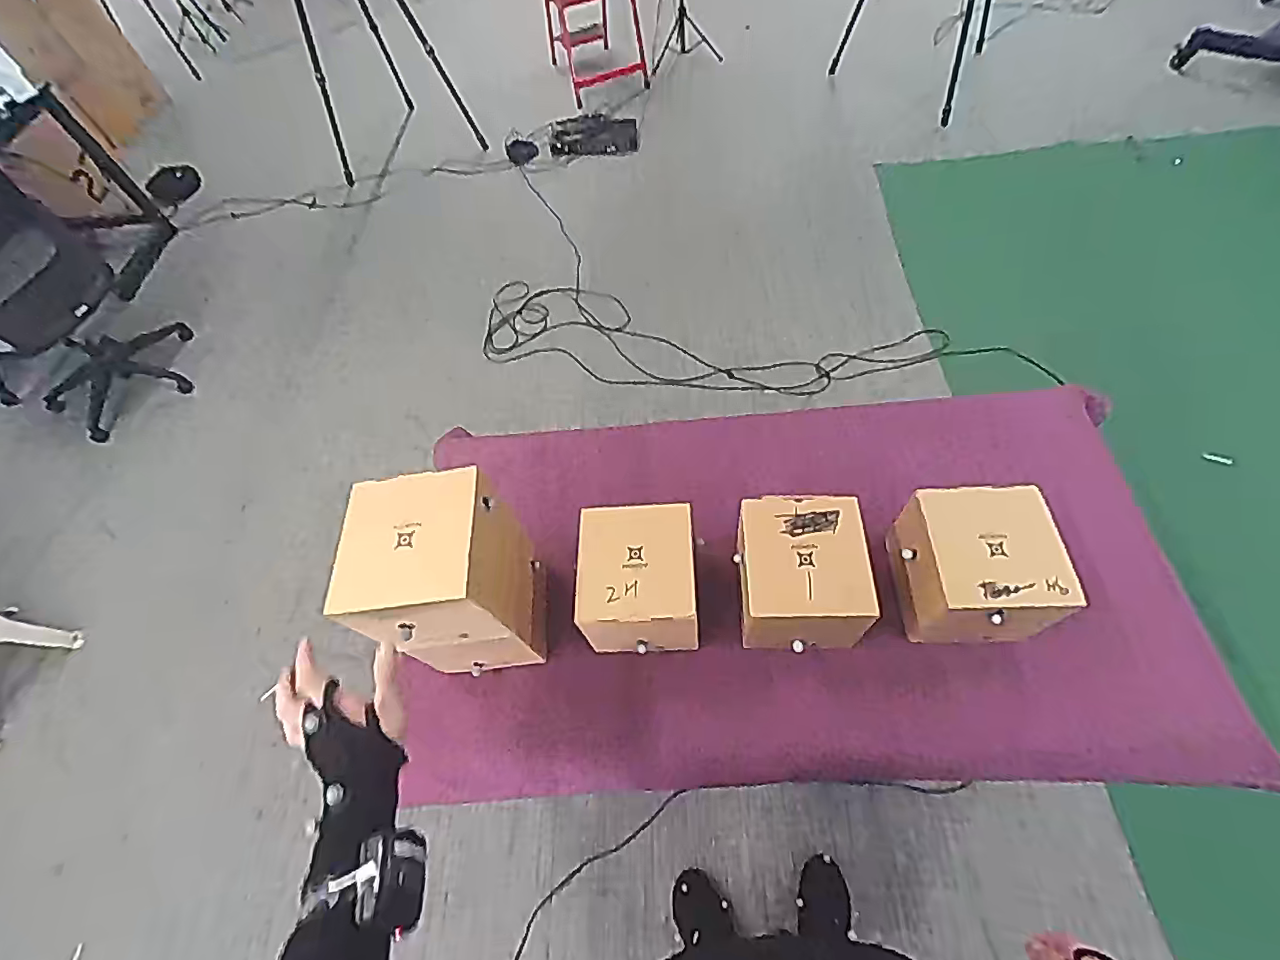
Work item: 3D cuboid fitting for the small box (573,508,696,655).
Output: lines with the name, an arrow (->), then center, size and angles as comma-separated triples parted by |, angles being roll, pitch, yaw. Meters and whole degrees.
small box -> 0.001, 0.160, 0.828 | 0.168, 0.176, 0.179 | -3, 59, 6

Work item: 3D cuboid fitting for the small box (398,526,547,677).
small box -> -0.247, 0.192, 0.841 | 0.168, 0.176, 0.179 | -8, 59, 3

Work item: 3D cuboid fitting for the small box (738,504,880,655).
small box -> 0.235, 0.151, 0.802 | 0.168, 0.176, 0.179 | -2, 60, 7

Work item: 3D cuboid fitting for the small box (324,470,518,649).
small box -> -0.265, 0.112, 0.702 | 0.168, 0.176, 0.179 | -8, 57, 4

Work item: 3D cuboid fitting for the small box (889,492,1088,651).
small box -> 0.478, 0.135, 0.779 | 0.168, 0.176, 0.179 | -2, 58, 7
